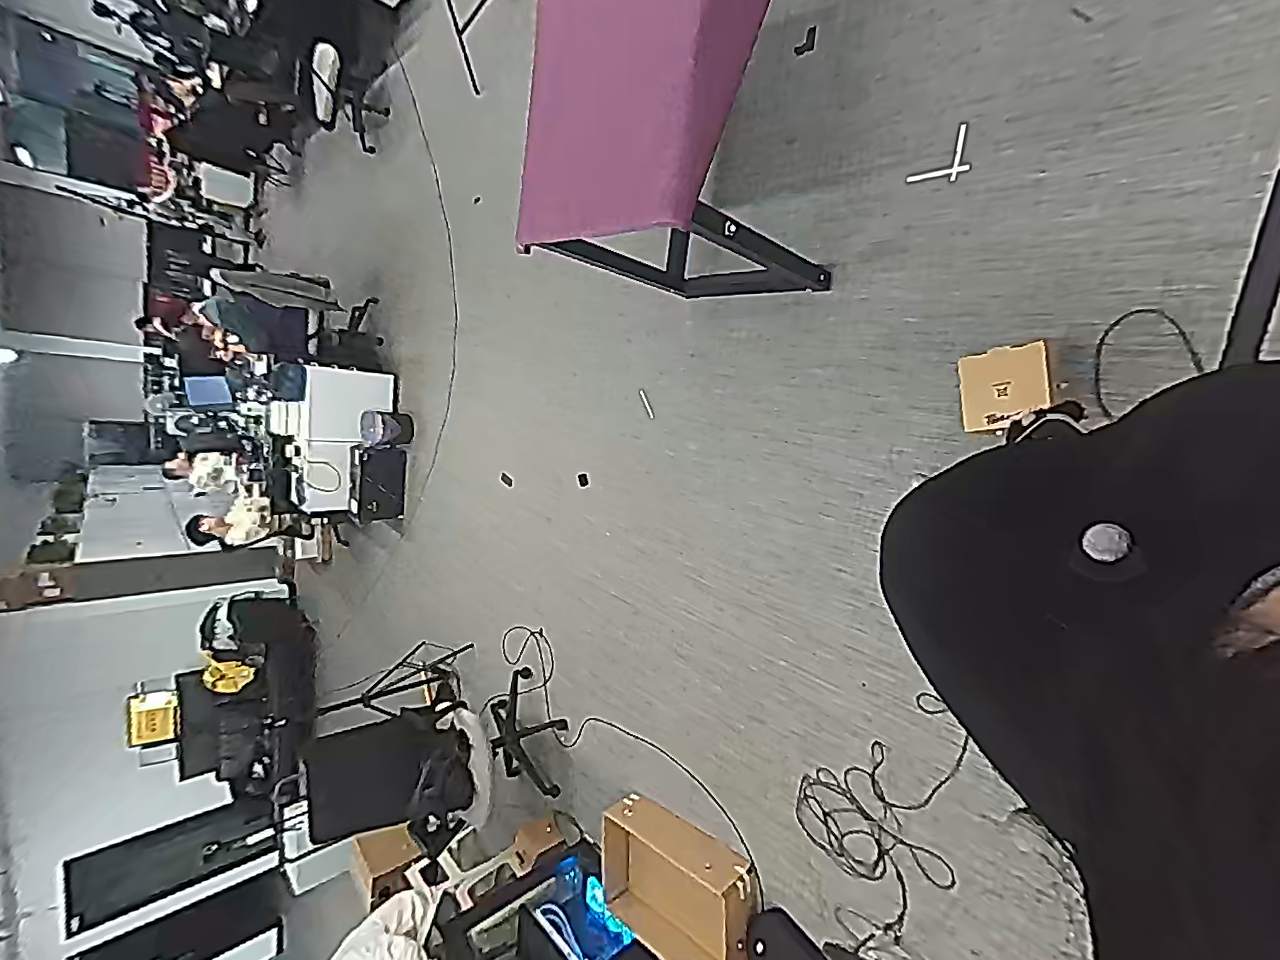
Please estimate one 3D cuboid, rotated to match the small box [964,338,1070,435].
[{"bbox_3d":[0.855,-0.203,1.226,0.168,0.176,0.179,-7,86,46],"label":"small box"}]
